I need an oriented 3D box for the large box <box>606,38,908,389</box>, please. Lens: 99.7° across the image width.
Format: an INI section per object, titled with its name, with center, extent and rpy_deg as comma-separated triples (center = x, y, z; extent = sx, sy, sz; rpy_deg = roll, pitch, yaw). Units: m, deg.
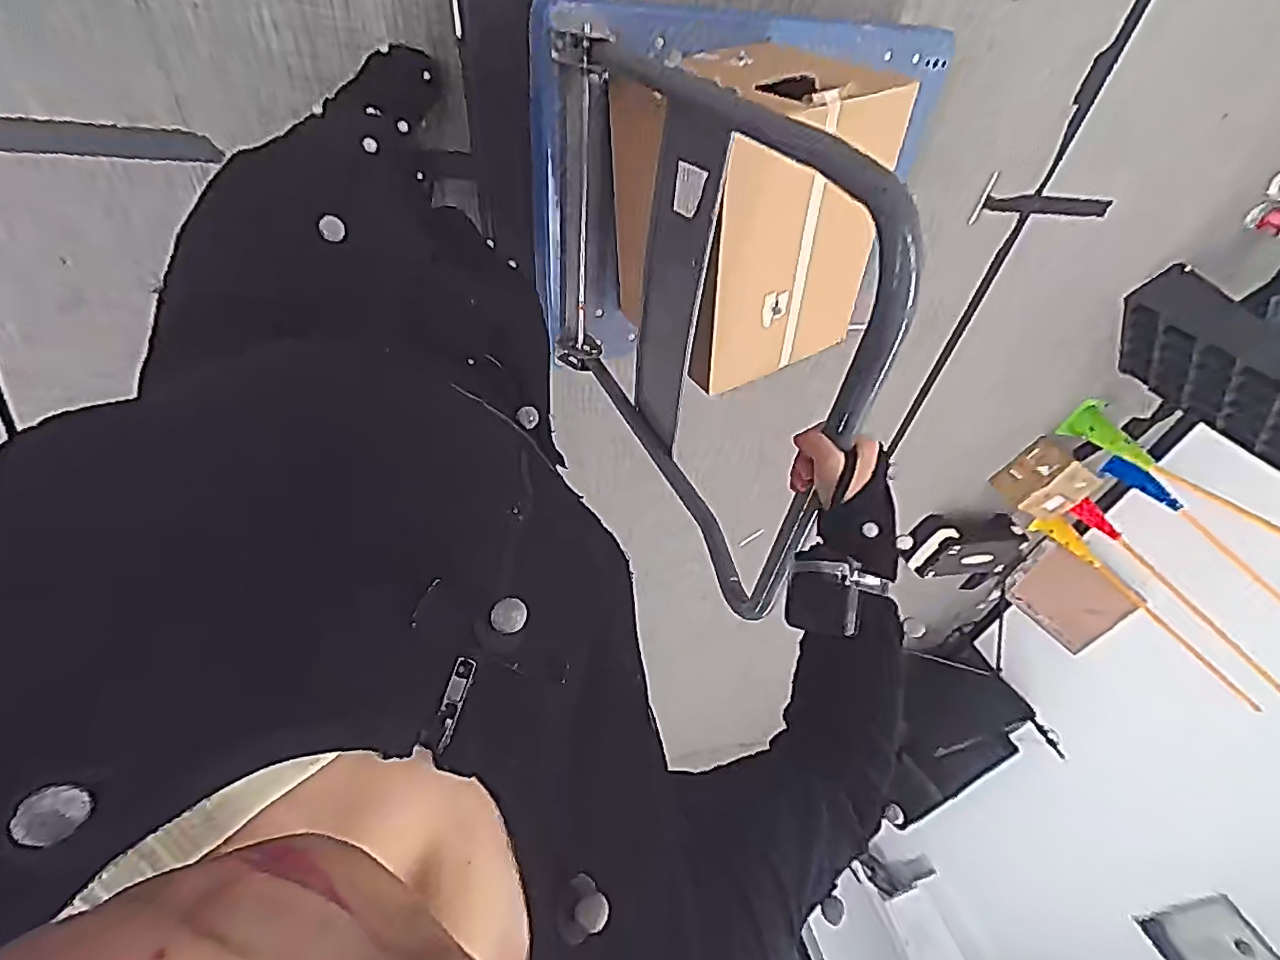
[large box]
center = 0.160, -0.439, 0.903
extent = 0.320, 0.320, 0.408
rpy_deg = -24, 143, -18
